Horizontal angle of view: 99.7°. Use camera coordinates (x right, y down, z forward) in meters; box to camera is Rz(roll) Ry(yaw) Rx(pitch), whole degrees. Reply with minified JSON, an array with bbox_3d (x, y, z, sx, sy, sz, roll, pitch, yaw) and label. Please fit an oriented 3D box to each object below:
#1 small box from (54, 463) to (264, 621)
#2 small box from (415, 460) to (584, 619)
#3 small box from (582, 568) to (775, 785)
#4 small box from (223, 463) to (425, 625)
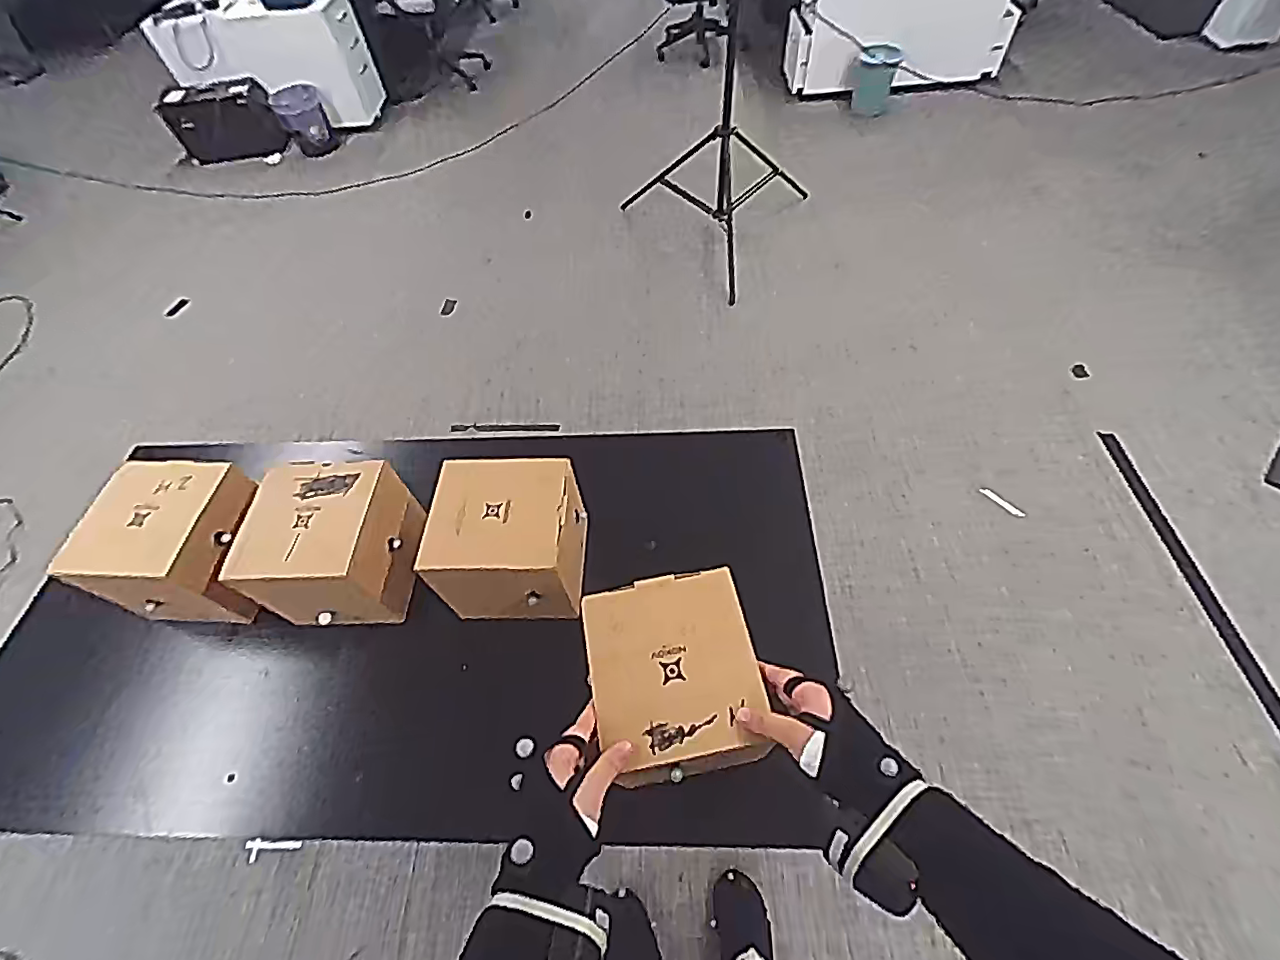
[{"bbox_3d":[-0.650,0.094,0.787,0.168,0.176,0.179,1,56,5],"label":"small box"},{"bbox_3d":[-0.178,0.087,0.757,0.179,0.176,0.168,-2,54,4],"label":"small box"},{"bbox_3d":[0.037,0.224,0.605,0.168,0.176,0.179,-12,57,-1],"label":"small box"},{"bbox_3d":[-0.426,0.094,0.769,0.168,0.176,0.179,-2,57,2],"label":"small box"}]
